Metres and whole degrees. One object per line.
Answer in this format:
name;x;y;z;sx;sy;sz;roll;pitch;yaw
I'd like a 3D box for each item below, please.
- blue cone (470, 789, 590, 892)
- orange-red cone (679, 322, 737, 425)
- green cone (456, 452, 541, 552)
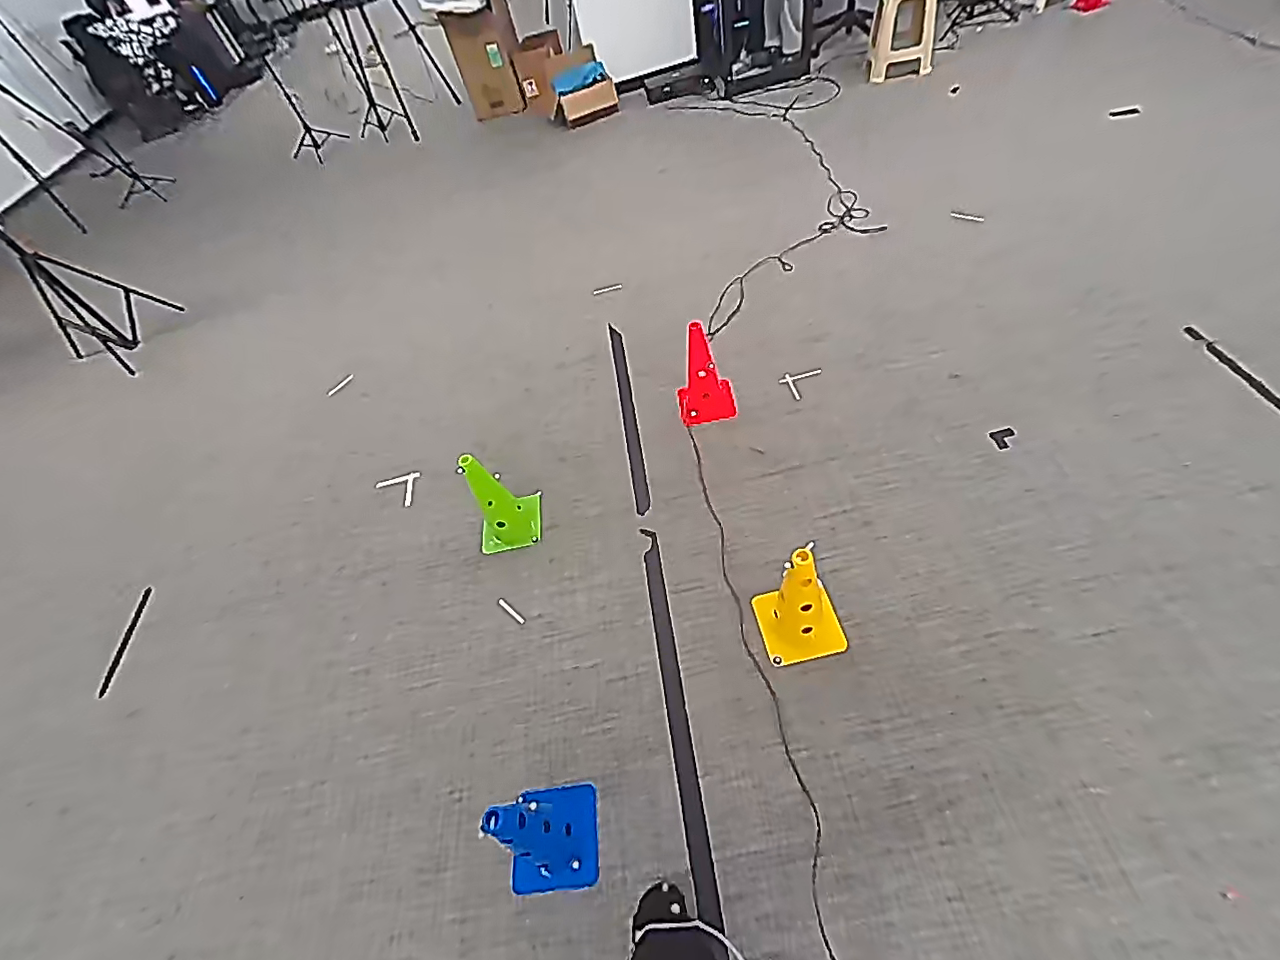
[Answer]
blue cone;-0.241;0.723;1.116;0.192;0.380;0.193;-10;51;8
orange-red cone;0.213;-0.384;1.842;0.199;0.360;0.198;-8;53;6
green cone;-0.466;0.037;1.685;0.202;0.368;0.200;-13;51;5
